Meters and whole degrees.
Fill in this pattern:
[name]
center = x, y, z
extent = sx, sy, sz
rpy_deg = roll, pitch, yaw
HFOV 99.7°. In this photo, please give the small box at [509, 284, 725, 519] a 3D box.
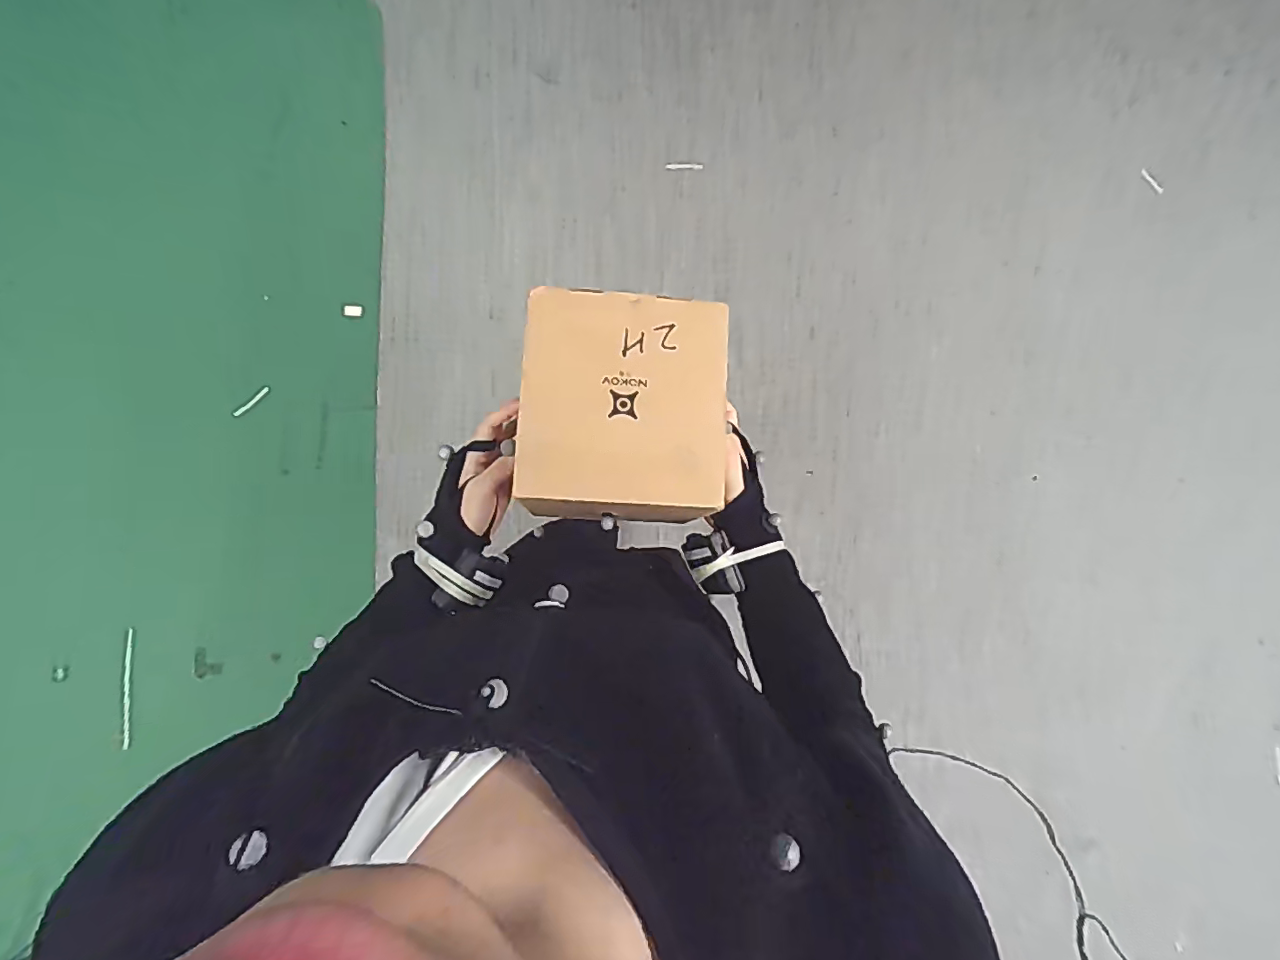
[small box]
center = -0.022, -0.057, 0.513
extent = 0.168, 0.176, 0.179
rpy_deg = 4, 81, -5
